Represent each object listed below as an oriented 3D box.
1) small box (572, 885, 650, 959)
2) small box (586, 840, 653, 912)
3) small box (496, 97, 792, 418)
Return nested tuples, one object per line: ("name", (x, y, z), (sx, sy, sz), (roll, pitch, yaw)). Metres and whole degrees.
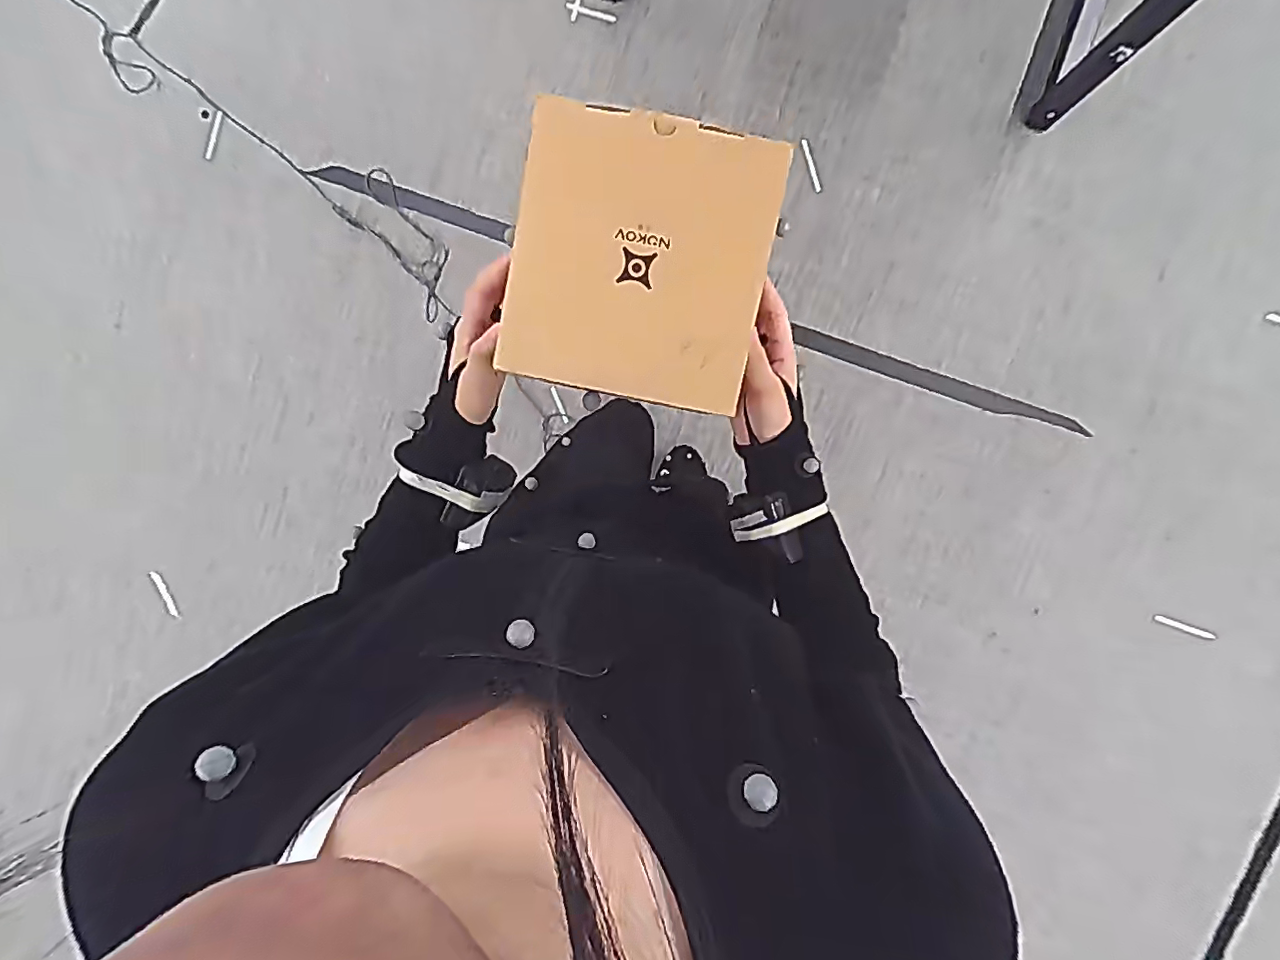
("small box", (-0.072, 1.144, 1.329), (0.179, 0.176, 0.168), (8, 93, 4))
("small box", (-0.059, 1.132, 1.491), (0.179, 0.176, 0.168), (7, 94, 2))
("small box", (0.003, -0.149, 0.426), (0.168, 0.176, 0.179), (11, 96, 0))
